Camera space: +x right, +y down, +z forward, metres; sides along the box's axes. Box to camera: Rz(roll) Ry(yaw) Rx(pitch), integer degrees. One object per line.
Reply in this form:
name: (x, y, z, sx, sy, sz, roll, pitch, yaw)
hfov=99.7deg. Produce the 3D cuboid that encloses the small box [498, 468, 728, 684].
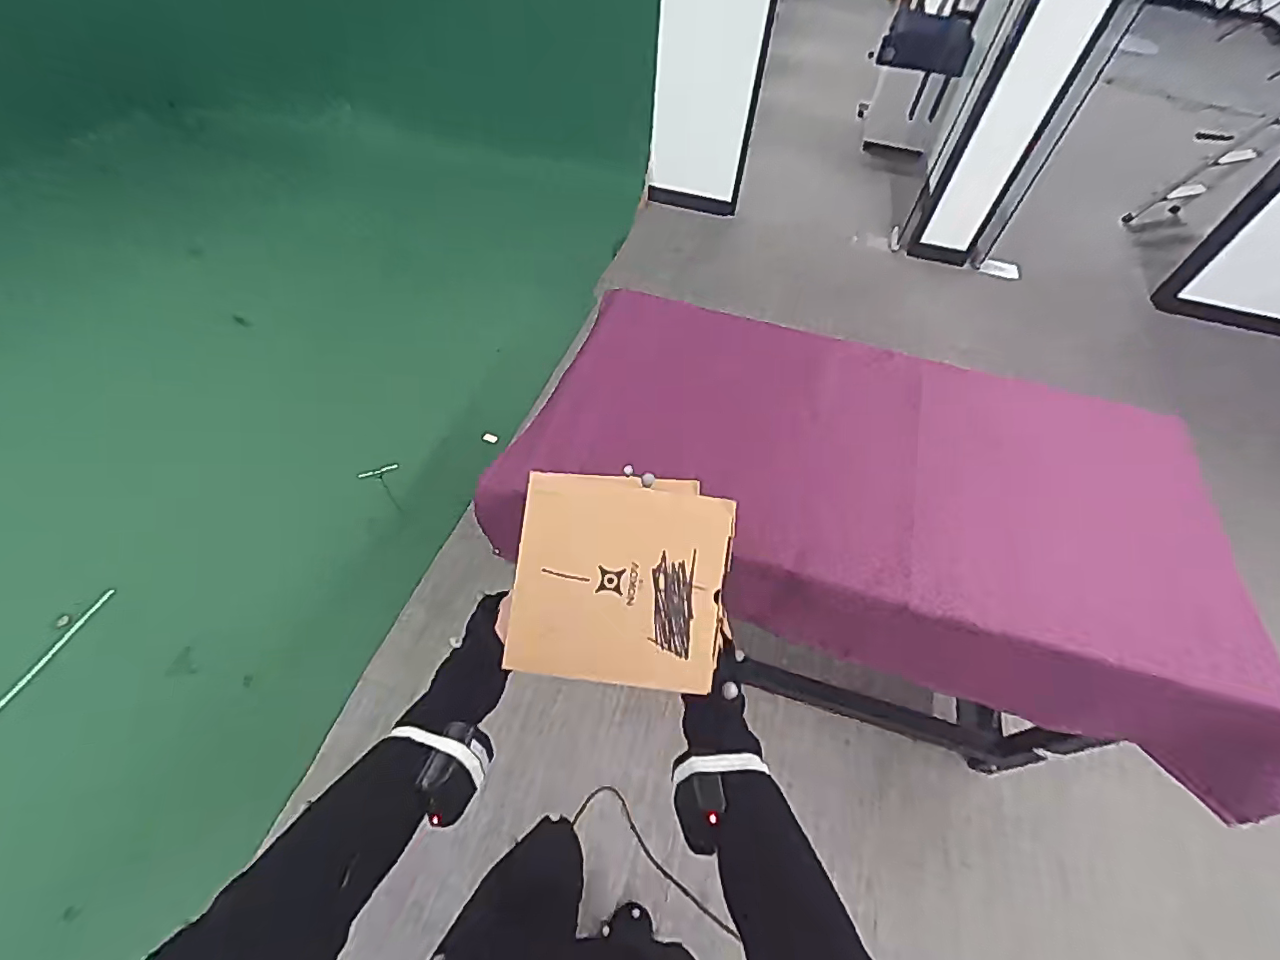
small box: (-0.025, 0.083, 0.536, 0.179, 0.176, 0.168, 8, 88, -2)
